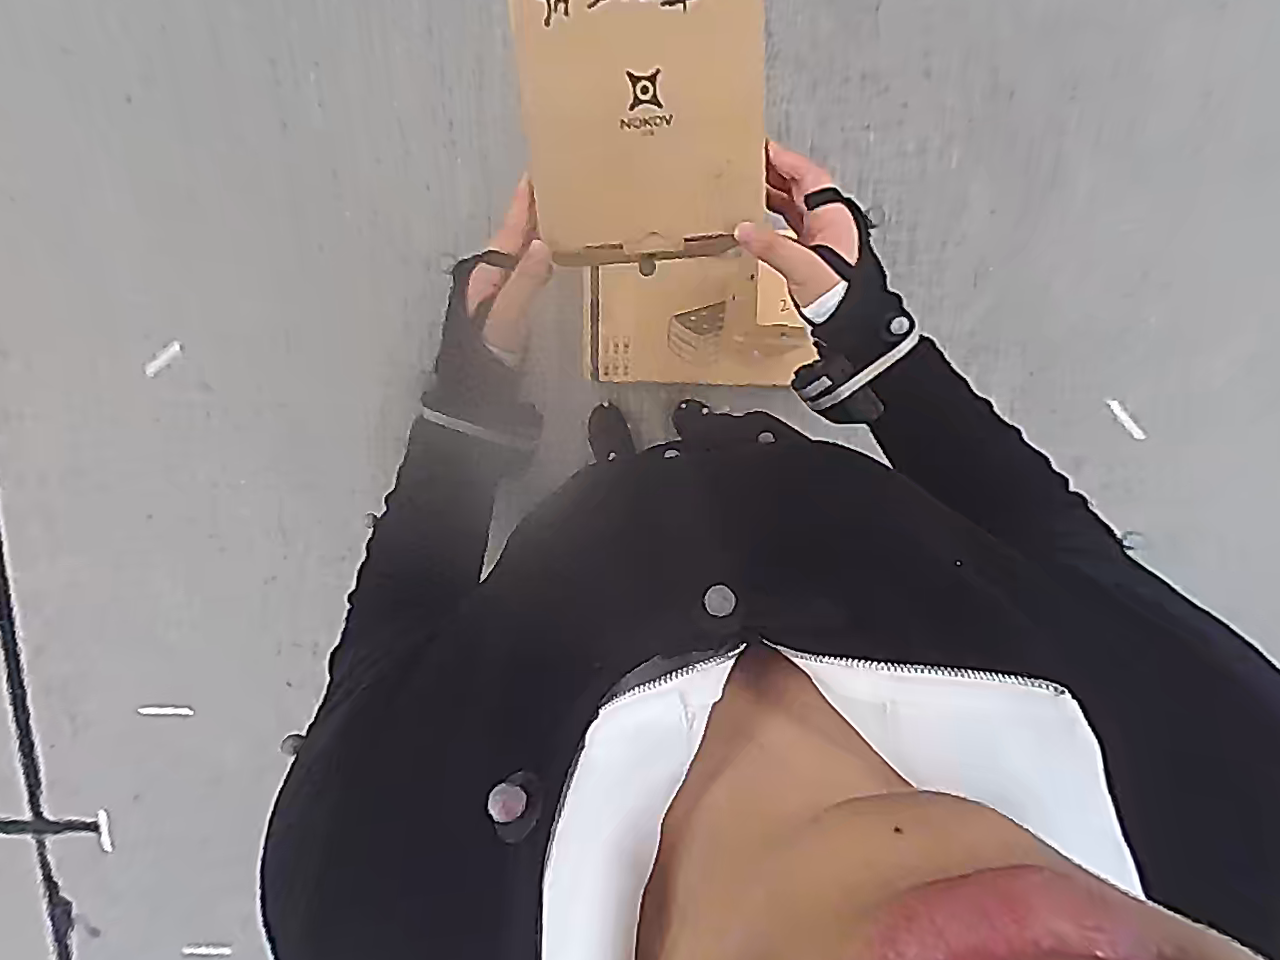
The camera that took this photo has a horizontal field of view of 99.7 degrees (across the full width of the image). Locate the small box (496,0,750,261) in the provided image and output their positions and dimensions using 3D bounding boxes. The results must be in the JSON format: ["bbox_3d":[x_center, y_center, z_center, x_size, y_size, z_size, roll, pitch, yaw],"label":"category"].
[{"bbox_3d":[-0.008,-0.280,0.445,0.168,0.176,0.179,-6,110,0],"label":"small box"}]

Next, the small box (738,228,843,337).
[{"bbox_3d":[0.295,-0.391,1.094,0.168,0.176,0.179,0,98,0],"label":"small box"}]

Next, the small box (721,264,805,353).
[{"bbox_3d":[0.288,-0.399,1.260,0.168,0.176,0.179,4,98,-1],"label":"small box"}]
